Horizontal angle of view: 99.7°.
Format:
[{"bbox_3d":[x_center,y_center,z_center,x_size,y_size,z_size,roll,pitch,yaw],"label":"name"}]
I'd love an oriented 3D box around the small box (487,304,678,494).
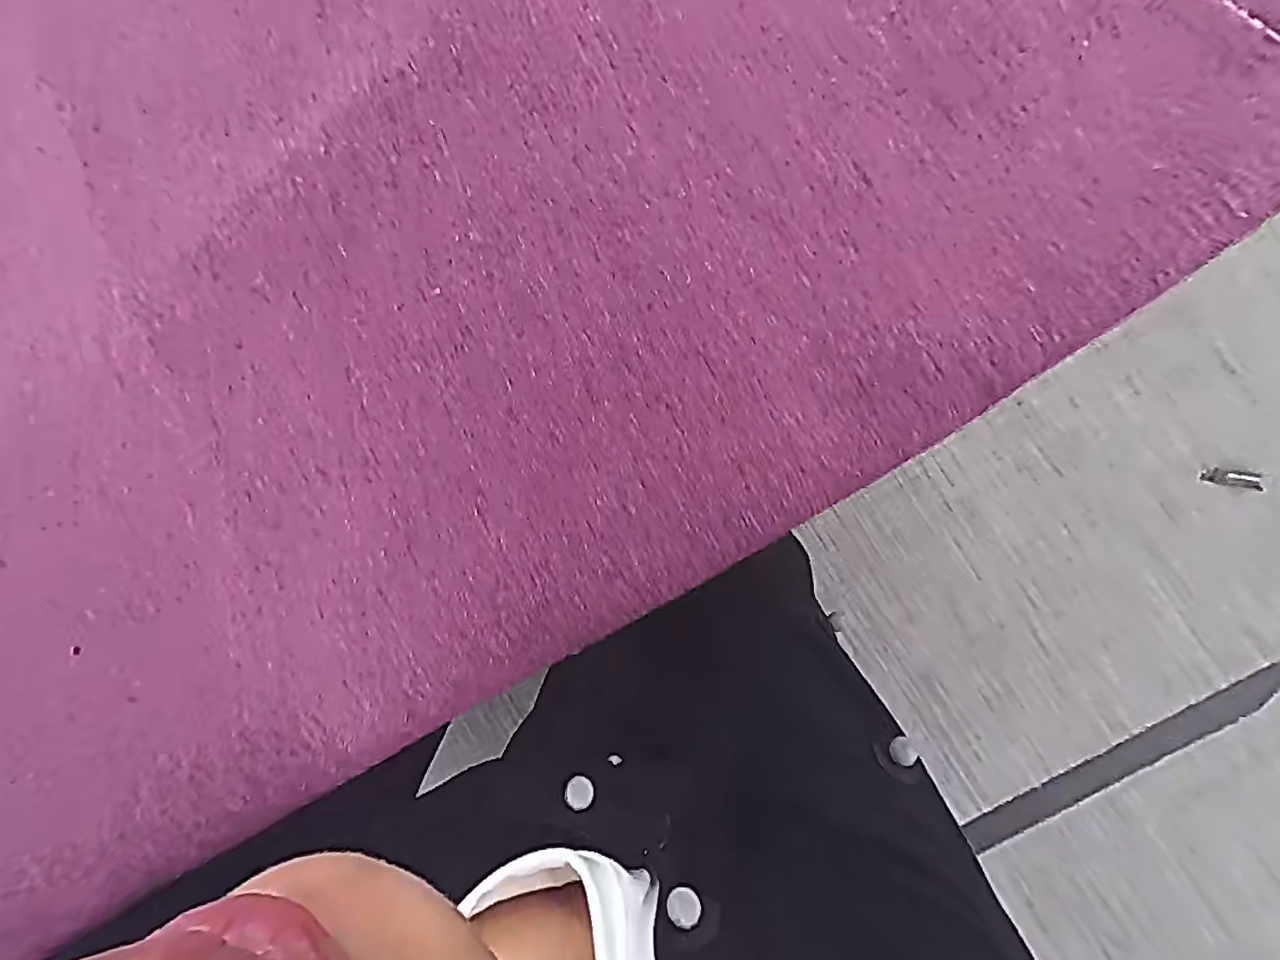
[{"bbox_3d":[-0.063,-0.094,0.718,0.179,0.176,0.168,-34,86,6],"label":"small box"}]
